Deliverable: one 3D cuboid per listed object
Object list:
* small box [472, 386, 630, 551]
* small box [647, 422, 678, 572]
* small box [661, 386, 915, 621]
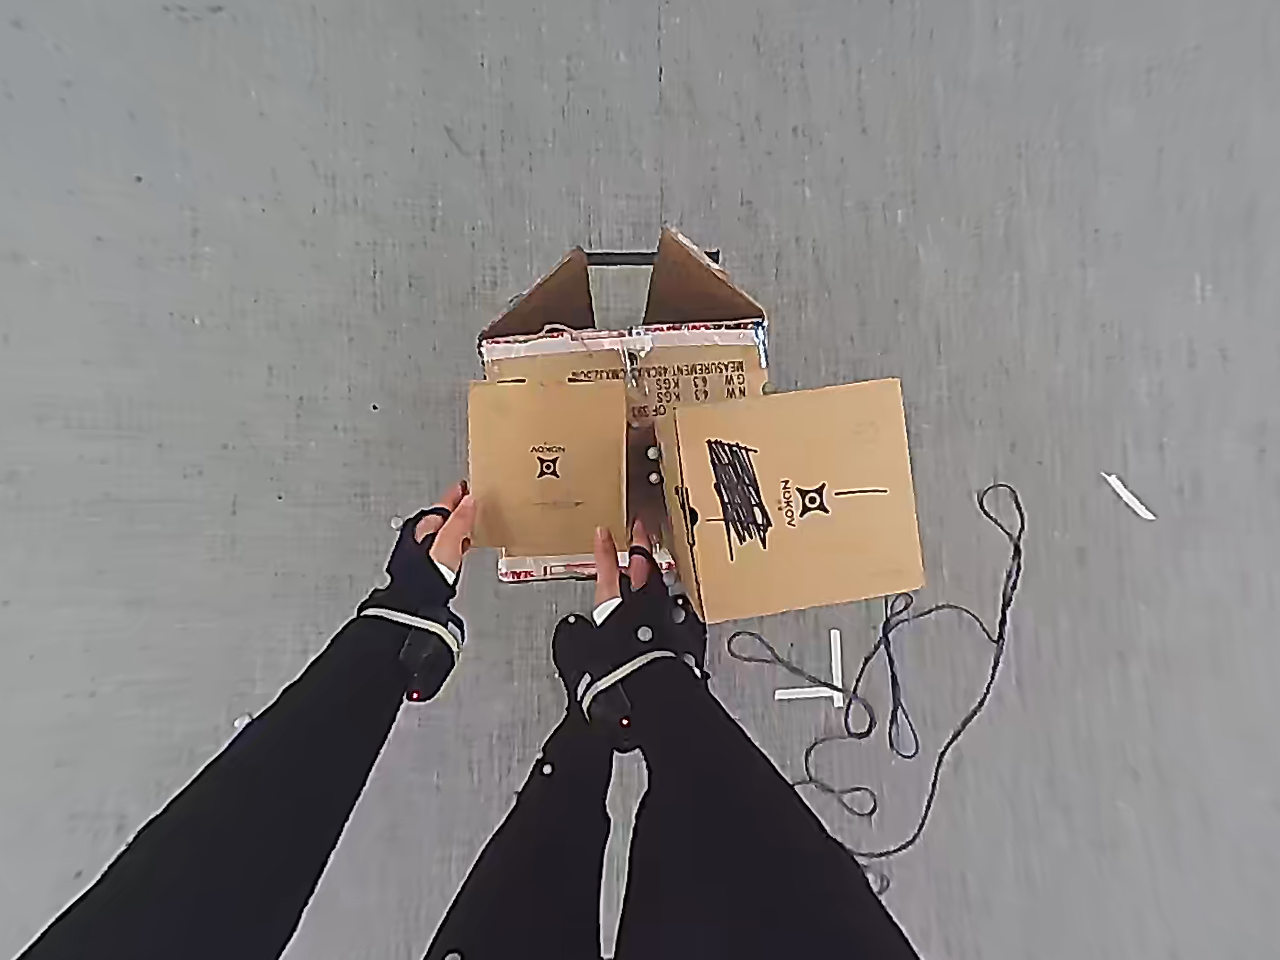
[{"bbox_3d":[-0.096,-0.015,0.652,0.168,0.176,0.179,-1,93,0],"label":"small box"},{"bbox_3d":[0.109,0.004,0.663,0.179,0.176,0.168,-9,93,-2],"label":"small box"},{"bbox_3d":[0.116,0.016,0.496,0.179,0.176,0.168,-8,93,-3],"label":"small box"}]
